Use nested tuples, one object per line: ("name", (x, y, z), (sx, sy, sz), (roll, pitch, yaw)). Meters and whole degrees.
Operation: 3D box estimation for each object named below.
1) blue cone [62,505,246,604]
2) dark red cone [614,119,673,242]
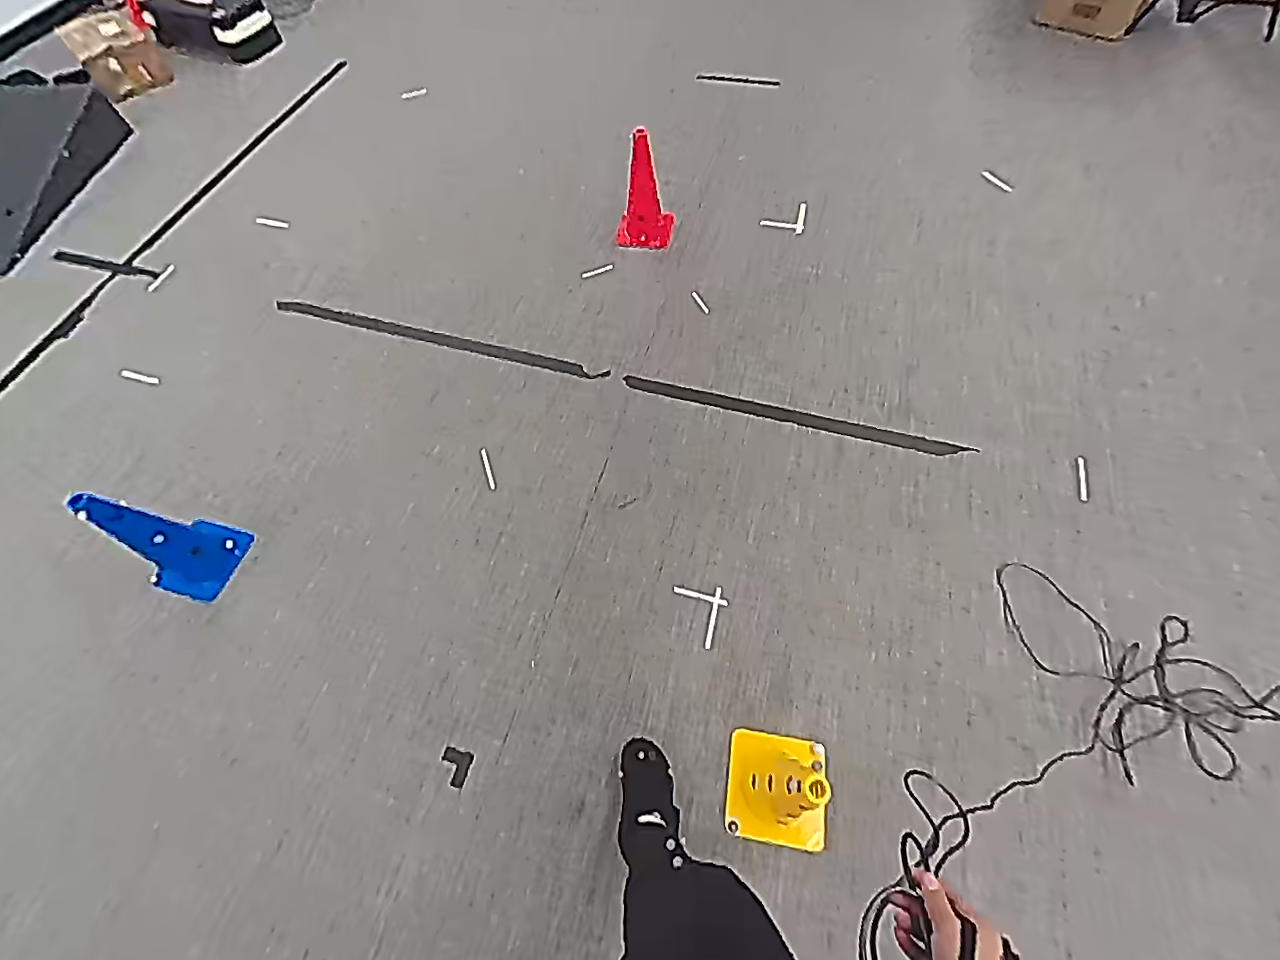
("blue cone", (-1.176, 0.147, 1.296), (0.193, 0.380, 0.192), (14, 63, 11))
("dark red cone", (0.007, -1.029, 1.860), (0.202, 0.394, 0.201), (7, 62, 7))
